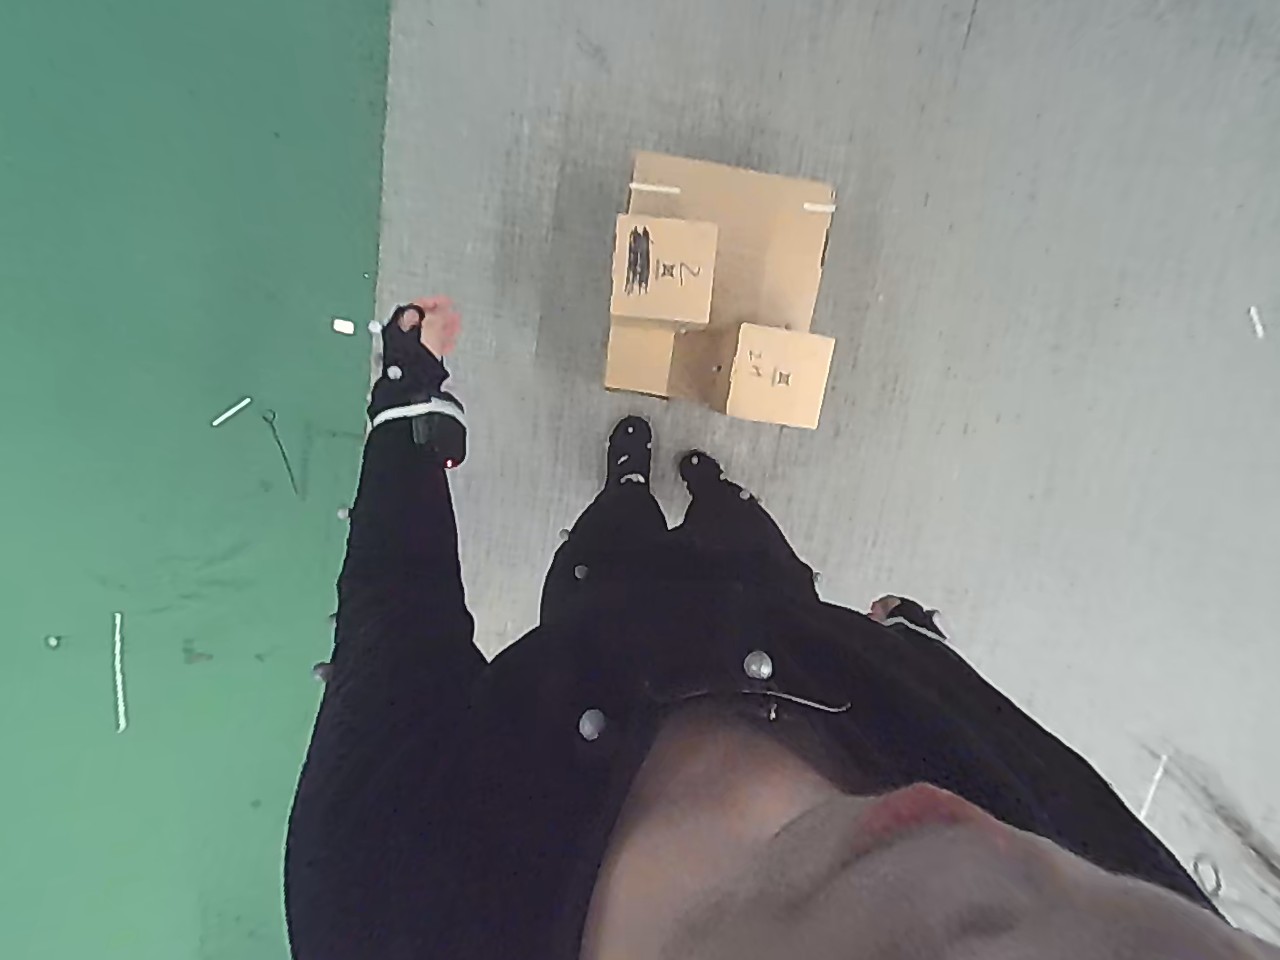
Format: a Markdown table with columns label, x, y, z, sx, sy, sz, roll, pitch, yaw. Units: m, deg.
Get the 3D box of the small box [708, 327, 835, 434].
| label | x | y | z | sx | sy | sz | roll | pitch | yaw |
| --- | --- | --- | --- | --- | --- | --- | --- | --- | --- |
| small box | 0.242 | -0.190 | 1.039 | 0.179 | 0.176 | 0.168 | 9 | 100 | -4 |
